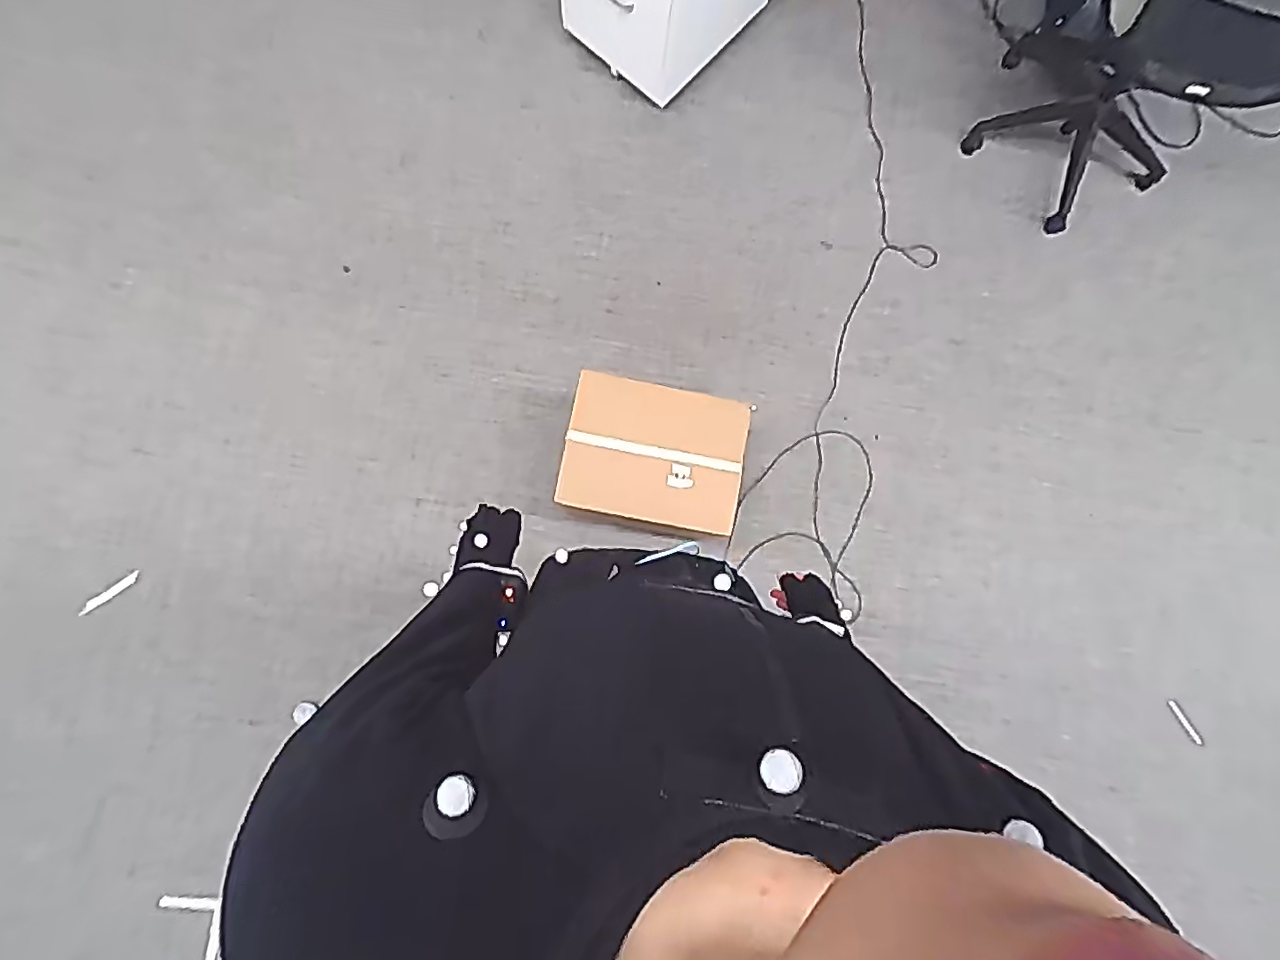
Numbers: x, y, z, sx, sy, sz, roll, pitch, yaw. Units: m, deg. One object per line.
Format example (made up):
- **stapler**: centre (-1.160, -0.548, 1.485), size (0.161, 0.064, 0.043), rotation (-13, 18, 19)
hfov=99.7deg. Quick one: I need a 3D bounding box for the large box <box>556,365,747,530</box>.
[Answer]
- **large box**: centre (0.017, -0.063, 1.377), size (0.408, 0.320, 0.320), rotation (12, 83, -3)
